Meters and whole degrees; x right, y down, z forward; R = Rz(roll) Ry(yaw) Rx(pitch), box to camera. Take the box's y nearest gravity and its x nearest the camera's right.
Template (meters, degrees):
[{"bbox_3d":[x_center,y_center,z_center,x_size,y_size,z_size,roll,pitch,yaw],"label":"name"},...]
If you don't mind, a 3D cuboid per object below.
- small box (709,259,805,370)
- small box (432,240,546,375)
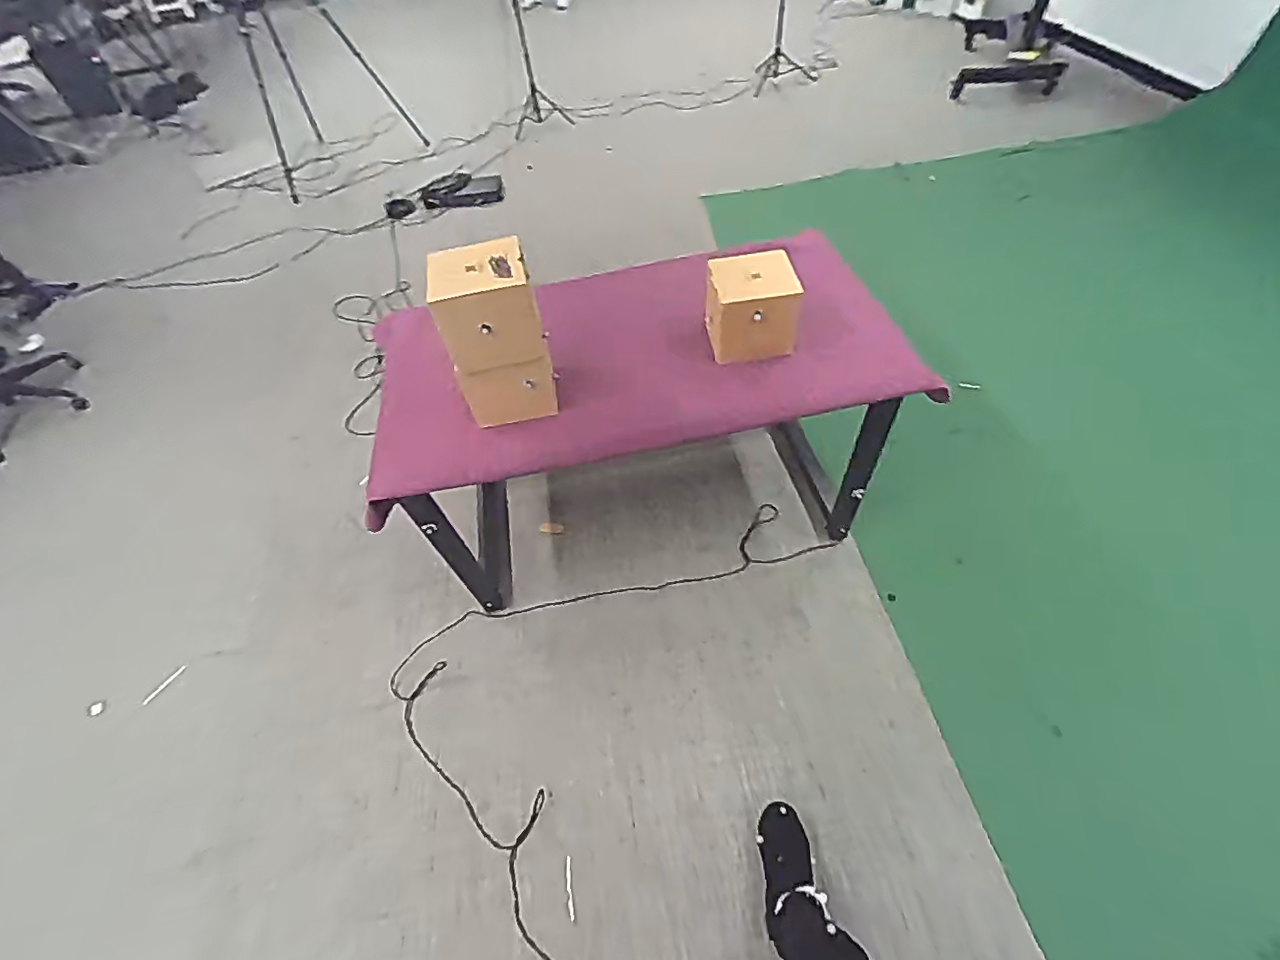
[{"bbox_3d":[0.258,-0.374,1.233,0.179,0.176,0.168,-7,53,1],"label":"small box"},{"bbox_3d":[-0.282,-0.327,1.038,0.179,0.176,0.168,-13,53,-4],"label":"small box"}]
